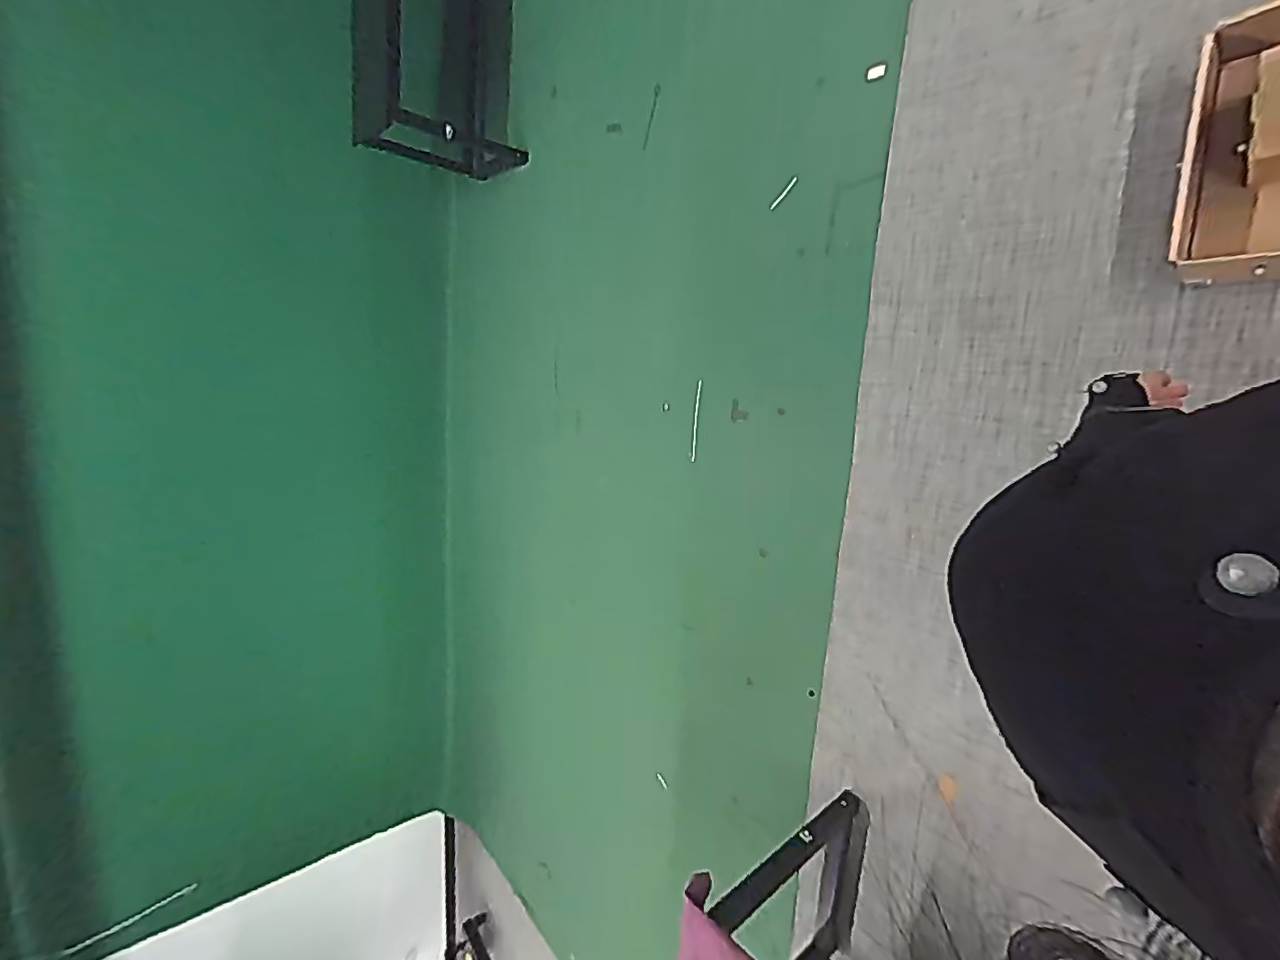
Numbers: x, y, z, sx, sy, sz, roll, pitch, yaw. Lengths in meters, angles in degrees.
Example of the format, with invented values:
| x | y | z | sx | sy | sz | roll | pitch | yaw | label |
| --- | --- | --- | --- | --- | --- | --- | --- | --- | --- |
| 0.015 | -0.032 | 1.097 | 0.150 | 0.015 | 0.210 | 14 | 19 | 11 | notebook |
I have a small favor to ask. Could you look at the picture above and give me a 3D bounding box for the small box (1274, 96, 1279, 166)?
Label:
| x | y | z | sx | sy | sz | roll | pitch | yaw | label |
| --- | --- | --- | --- | --- | --- | --- | --- | --- | --- |
| 1.115 | -0.608 | 0.827 | 0.179 | 0.176 | 0.168 | 7 | 101 | 49 | small box |
